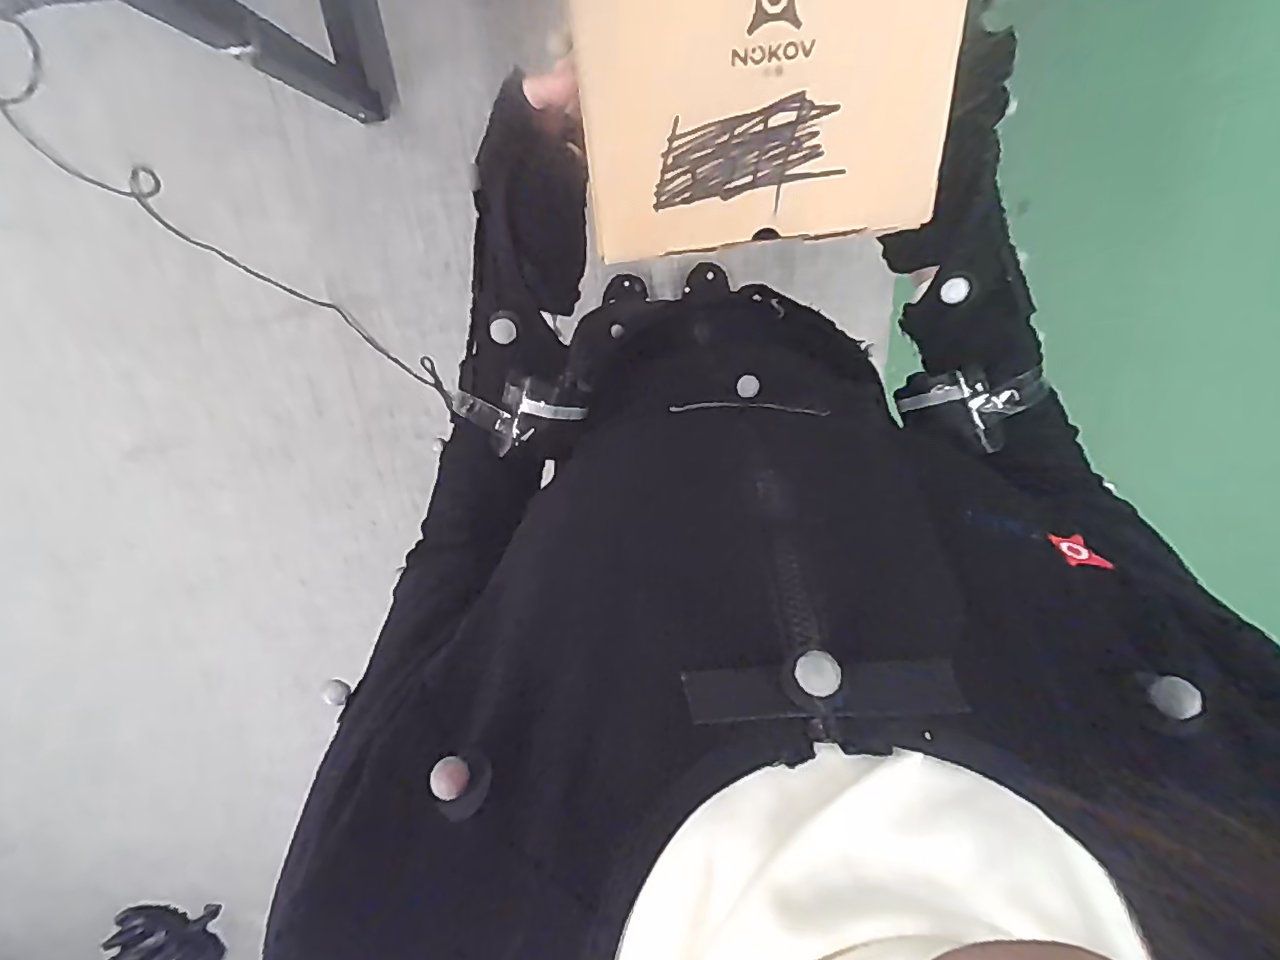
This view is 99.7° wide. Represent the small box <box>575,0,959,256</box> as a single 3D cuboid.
[{"bbox_3d":[0.051,-0.239,0.300,0.168,0.176,0.179,-6,123,-1],"label":"small box"}]
